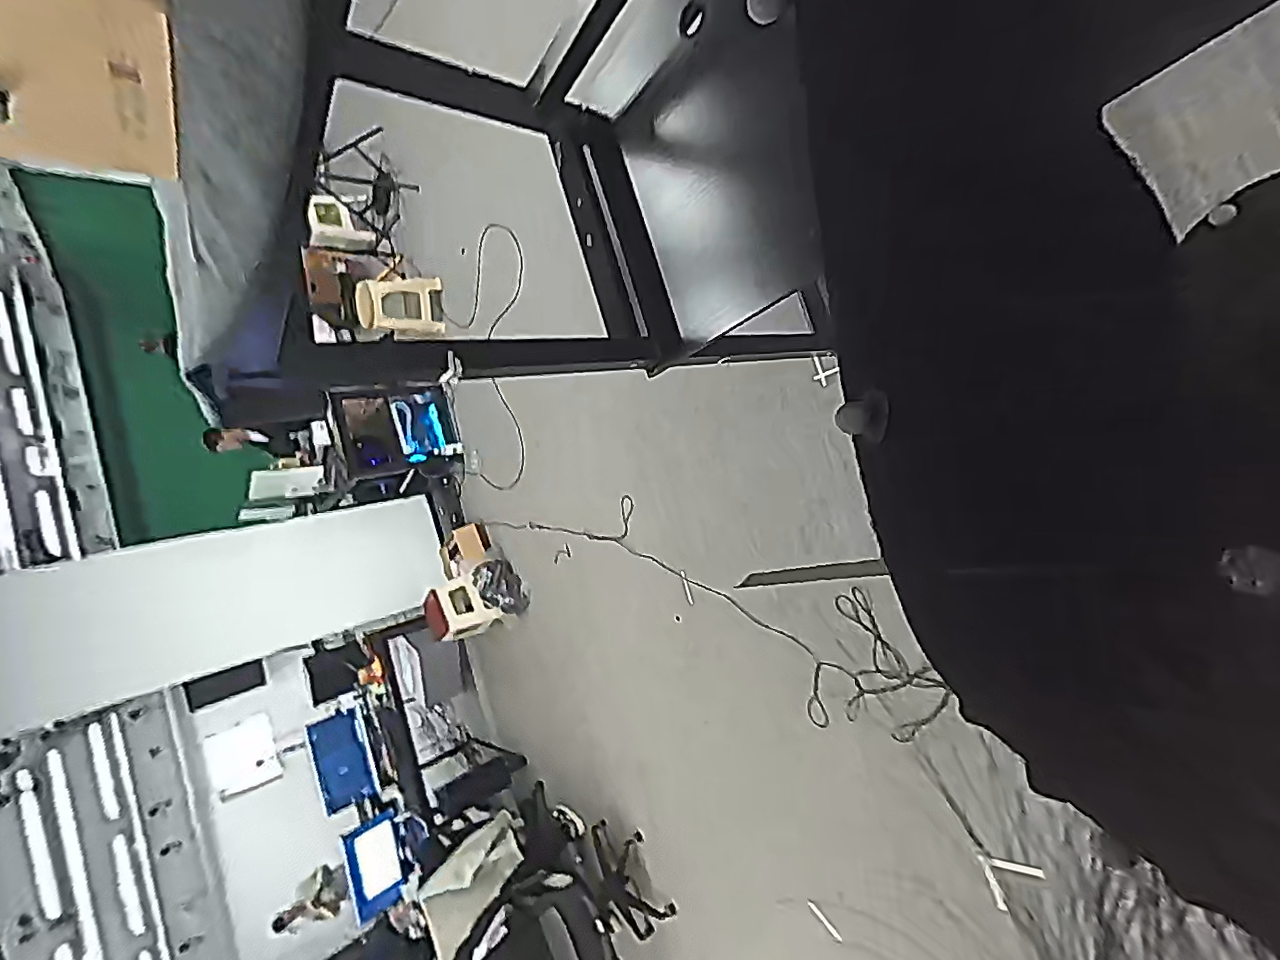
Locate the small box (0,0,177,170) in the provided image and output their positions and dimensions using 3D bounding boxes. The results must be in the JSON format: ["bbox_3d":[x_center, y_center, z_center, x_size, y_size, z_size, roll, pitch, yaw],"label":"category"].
[{"bbox_3d":[-0.400,-0.318,0.325,0.168,0.176,0.179,-17,85,50],"label":"small box"}]
